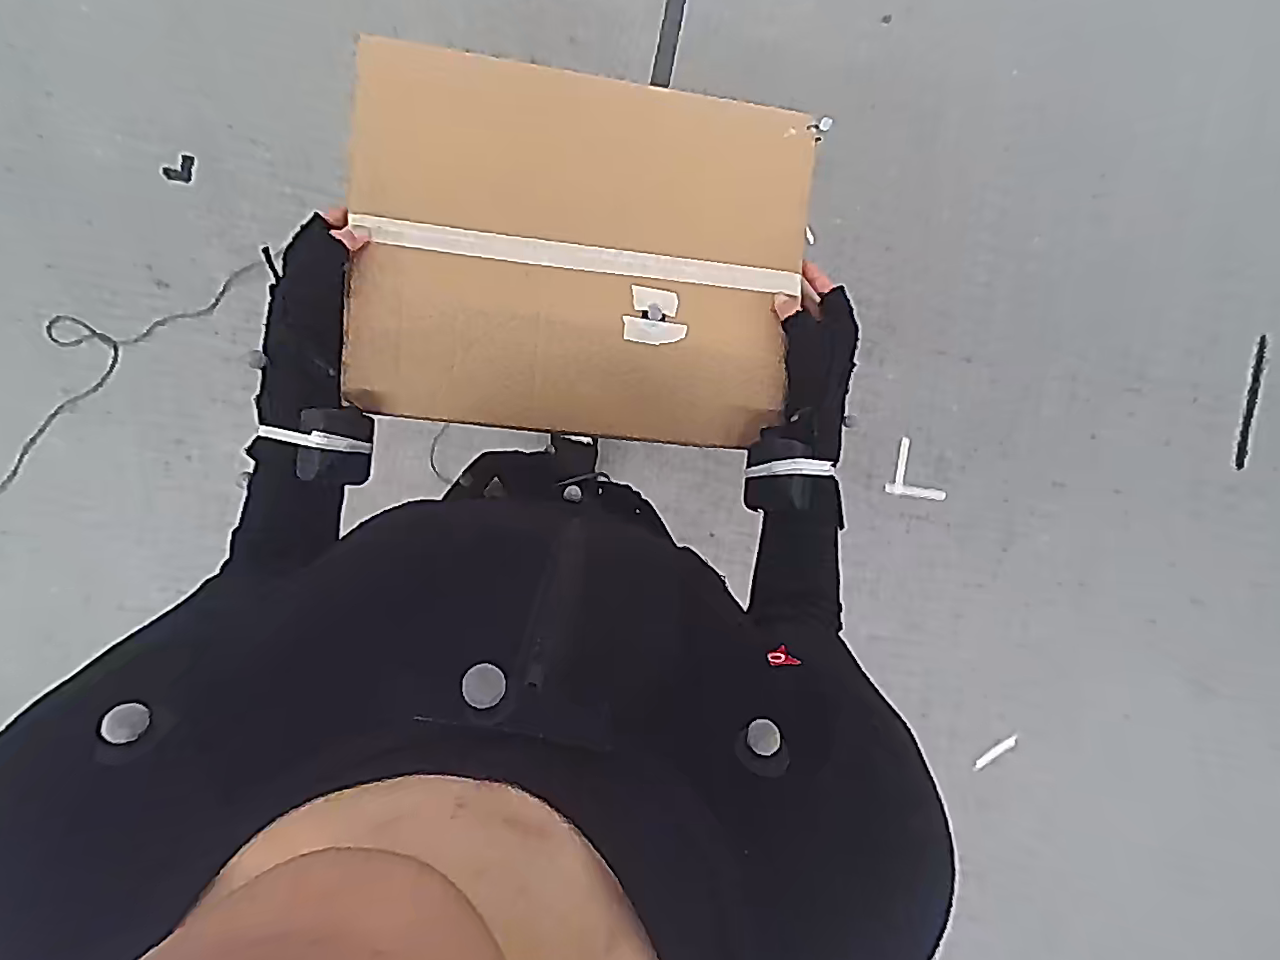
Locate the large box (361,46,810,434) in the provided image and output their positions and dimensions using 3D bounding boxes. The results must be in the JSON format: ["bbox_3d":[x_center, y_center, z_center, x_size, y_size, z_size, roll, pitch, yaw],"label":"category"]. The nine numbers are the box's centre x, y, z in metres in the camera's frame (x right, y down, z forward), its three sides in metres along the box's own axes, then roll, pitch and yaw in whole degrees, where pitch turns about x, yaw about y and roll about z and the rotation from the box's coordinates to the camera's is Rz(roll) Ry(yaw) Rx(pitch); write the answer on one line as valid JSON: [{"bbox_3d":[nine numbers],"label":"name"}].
[{"bbox_3d":[-0.065,-0.223,0.646,0.408,0.320,0.320,5,95,-8],"label":"large box"}]
